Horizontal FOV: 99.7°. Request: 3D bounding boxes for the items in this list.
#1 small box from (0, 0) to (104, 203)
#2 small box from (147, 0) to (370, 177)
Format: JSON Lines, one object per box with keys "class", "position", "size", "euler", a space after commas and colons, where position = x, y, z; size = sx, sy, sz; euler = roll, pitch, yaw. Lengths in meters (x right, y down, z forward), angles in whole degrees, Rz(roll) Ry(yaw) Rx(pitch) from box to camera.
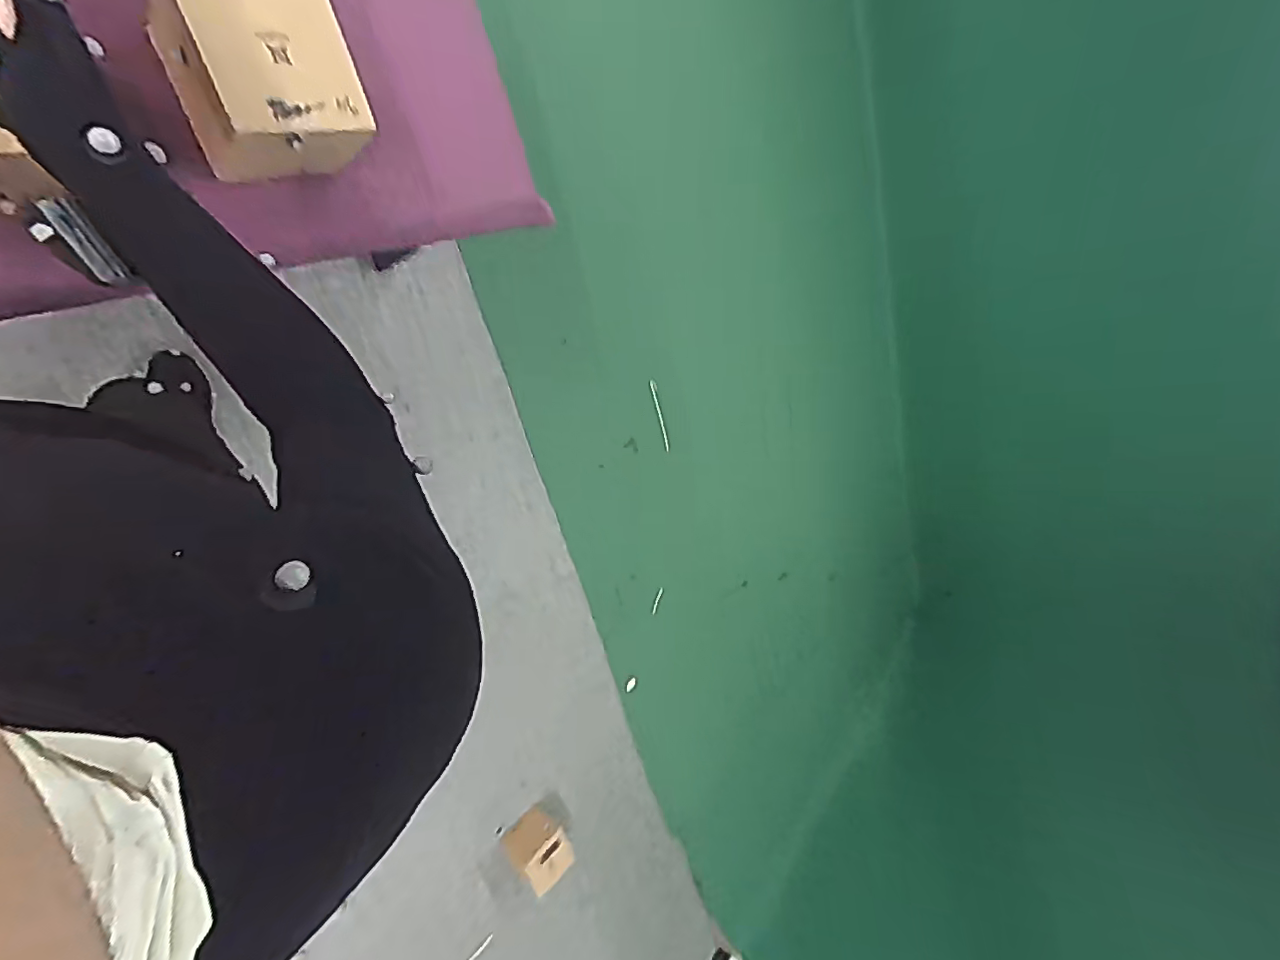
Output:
{"class": "small box", "position": [-0.668, -0.385, 0.518], "size": [0.168, 0.176, 0.179], "euler": [-32, 116, -35]}
{"class": "small box", "position": [-0.479, -0.508, 0.678], "size": [0.168, 0.176, 0.179], "euler": [-31, 114, -36]}
